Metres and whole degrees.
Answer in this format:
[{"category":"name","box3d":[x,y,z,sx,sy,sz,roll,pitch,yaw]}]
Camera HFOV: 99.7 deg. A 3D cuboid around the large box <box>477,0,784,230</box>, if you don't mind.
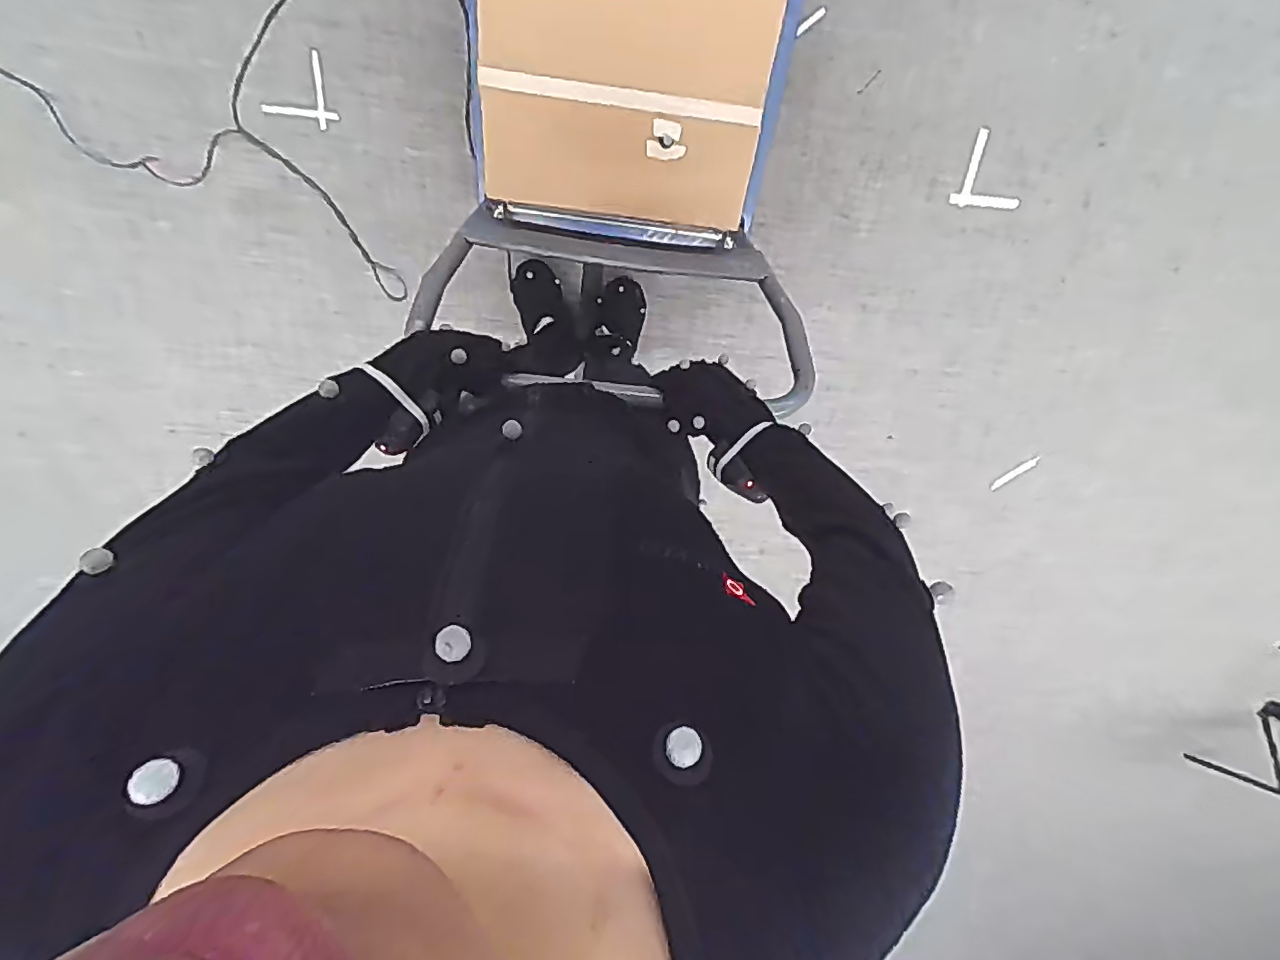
[{"category":"large box","box3d":[-0.031,-0.627,0.887,0.408,0.320,0.320,4,127,-7]}]
